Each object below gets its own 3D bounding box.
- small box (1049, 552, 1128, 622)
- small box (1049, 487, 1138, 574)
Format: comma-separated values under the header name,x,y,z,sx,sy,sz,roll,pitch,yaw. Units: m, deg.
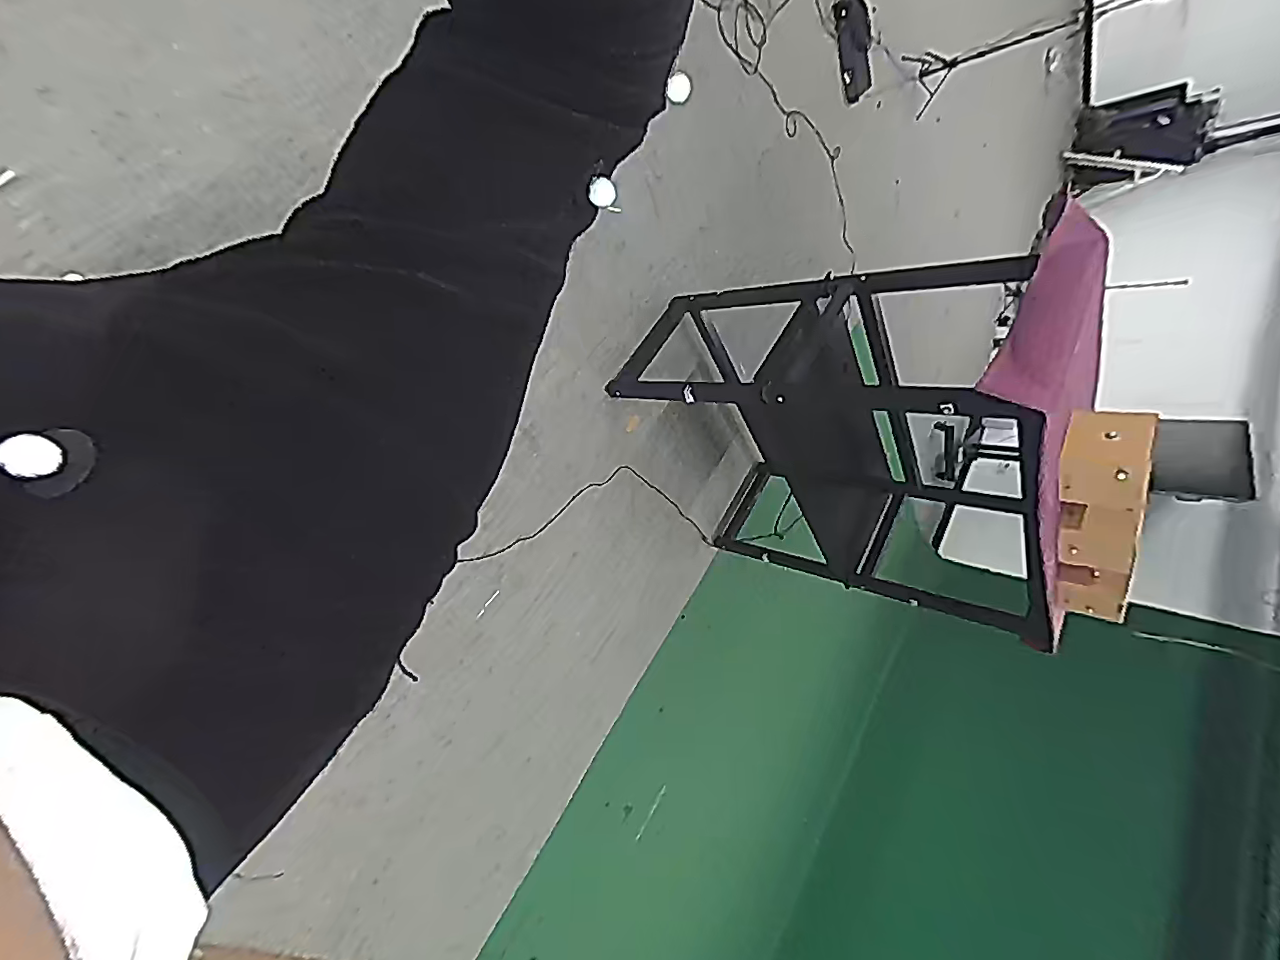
name,x,y,z,sx,sy,sz,roll,pitch,yaw
small box,1.416,0.314,1.713,0.179,0.176,0.168,-52,131,-25
small box,1.286,0.138,1.540,0.168,0.176,0.179,-57,133,-24
